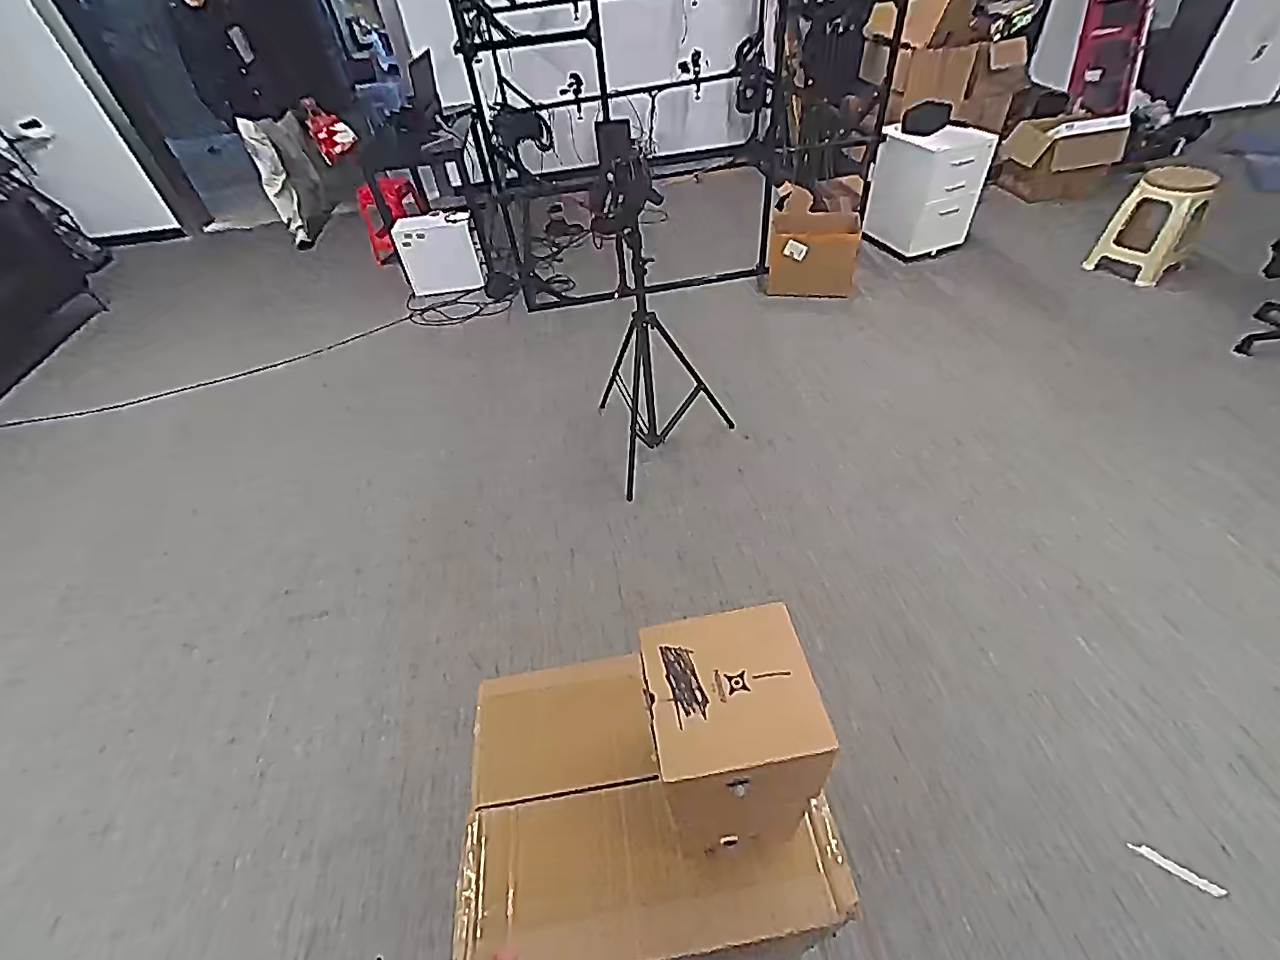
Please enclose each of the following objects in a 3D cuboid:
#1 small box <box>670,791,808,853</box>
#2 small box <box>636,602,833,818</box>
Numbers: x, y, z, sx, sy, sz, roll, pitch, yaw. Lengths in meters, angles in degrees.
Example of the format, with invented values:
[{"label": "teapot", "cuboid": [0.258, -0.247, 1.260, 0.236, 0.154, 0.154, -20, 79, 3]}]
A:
[{"label": "small box", "cuboid": [0.115, 0.385, 0.746, 0.168, 0.176, 0.179, -11, 46, -1]}, {"label": "small box", "cuboid": [0.101, 0.270, 0.629, 0.179, 0.176, 0.168, -11, 46, -2]}]
